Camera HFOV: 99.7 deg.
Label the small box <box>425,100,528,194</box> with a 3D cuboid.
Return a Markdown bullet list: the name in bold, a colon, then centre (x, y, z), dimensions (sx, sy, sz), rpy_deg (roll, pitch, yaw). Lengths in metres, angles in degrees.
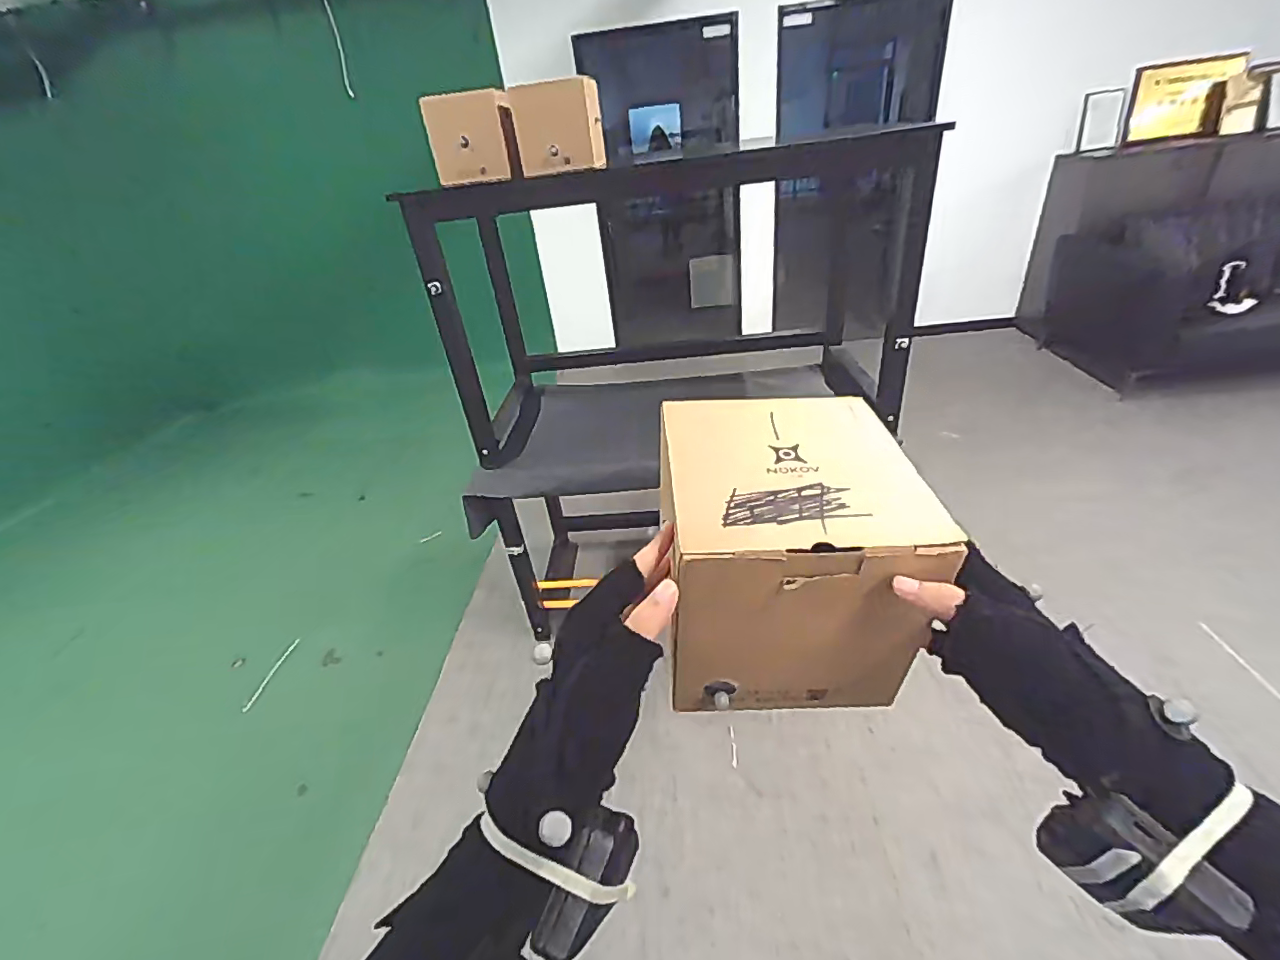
- **small box**: centre (-0.371, -0.776, 1.267), dimensions (0.168, 0.176, 0.179), rpy_deg (-3, 32, 5)

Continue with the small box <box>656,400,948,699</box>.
- **small box**: centre (0.099, 0.053, 0.424), dimensions (0.168, 0.176, 0.179), rpy_deg (-1, 36, -1)
